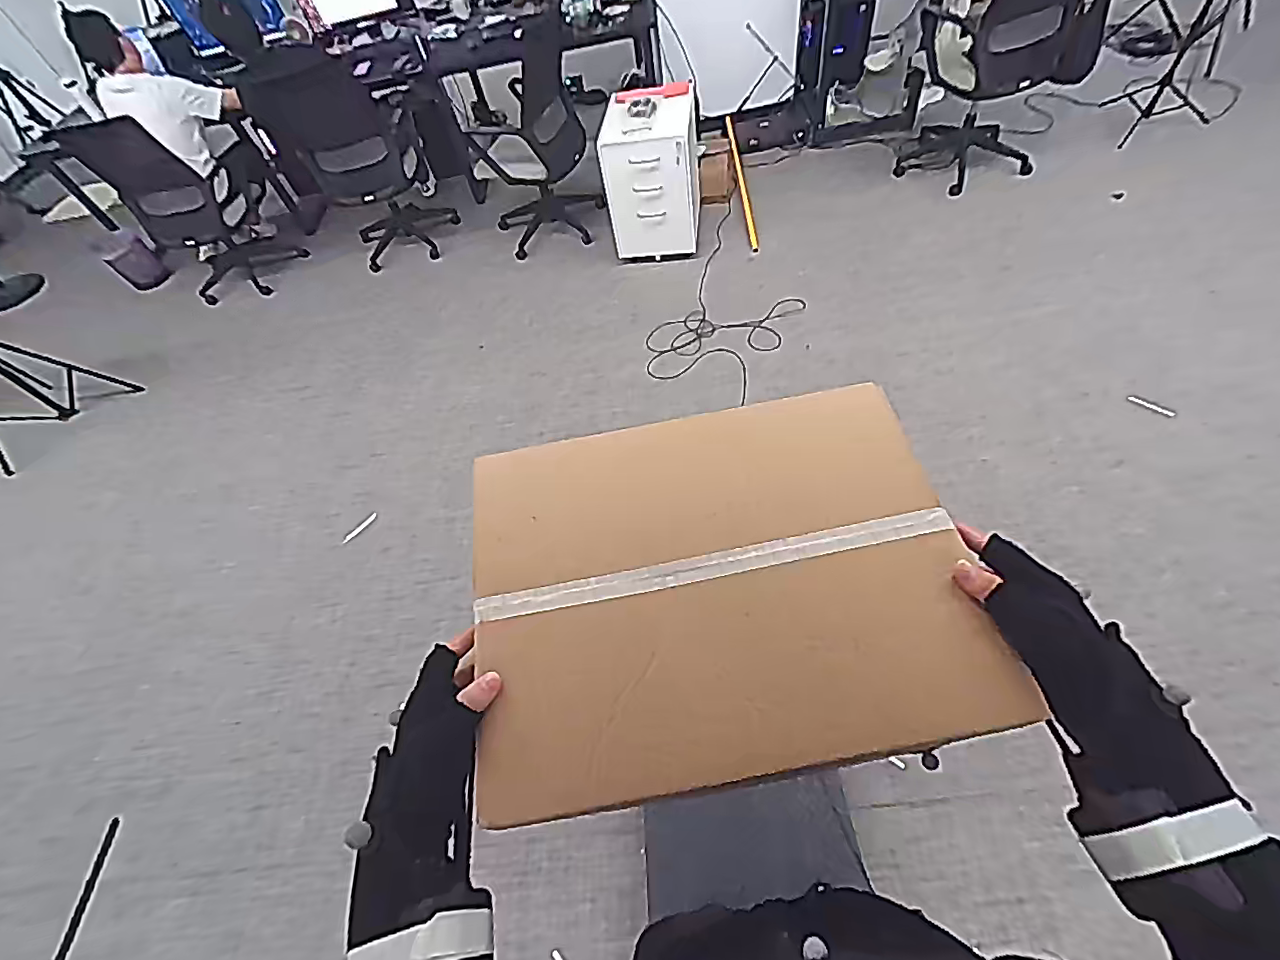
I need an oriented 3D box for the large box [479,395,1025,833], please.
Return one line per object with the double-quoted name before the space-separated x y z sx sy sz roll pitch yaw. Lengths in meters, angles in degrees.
"large box" 0.075 0.154 0.589 0.408 0.320 0.320 -11 59 -1
